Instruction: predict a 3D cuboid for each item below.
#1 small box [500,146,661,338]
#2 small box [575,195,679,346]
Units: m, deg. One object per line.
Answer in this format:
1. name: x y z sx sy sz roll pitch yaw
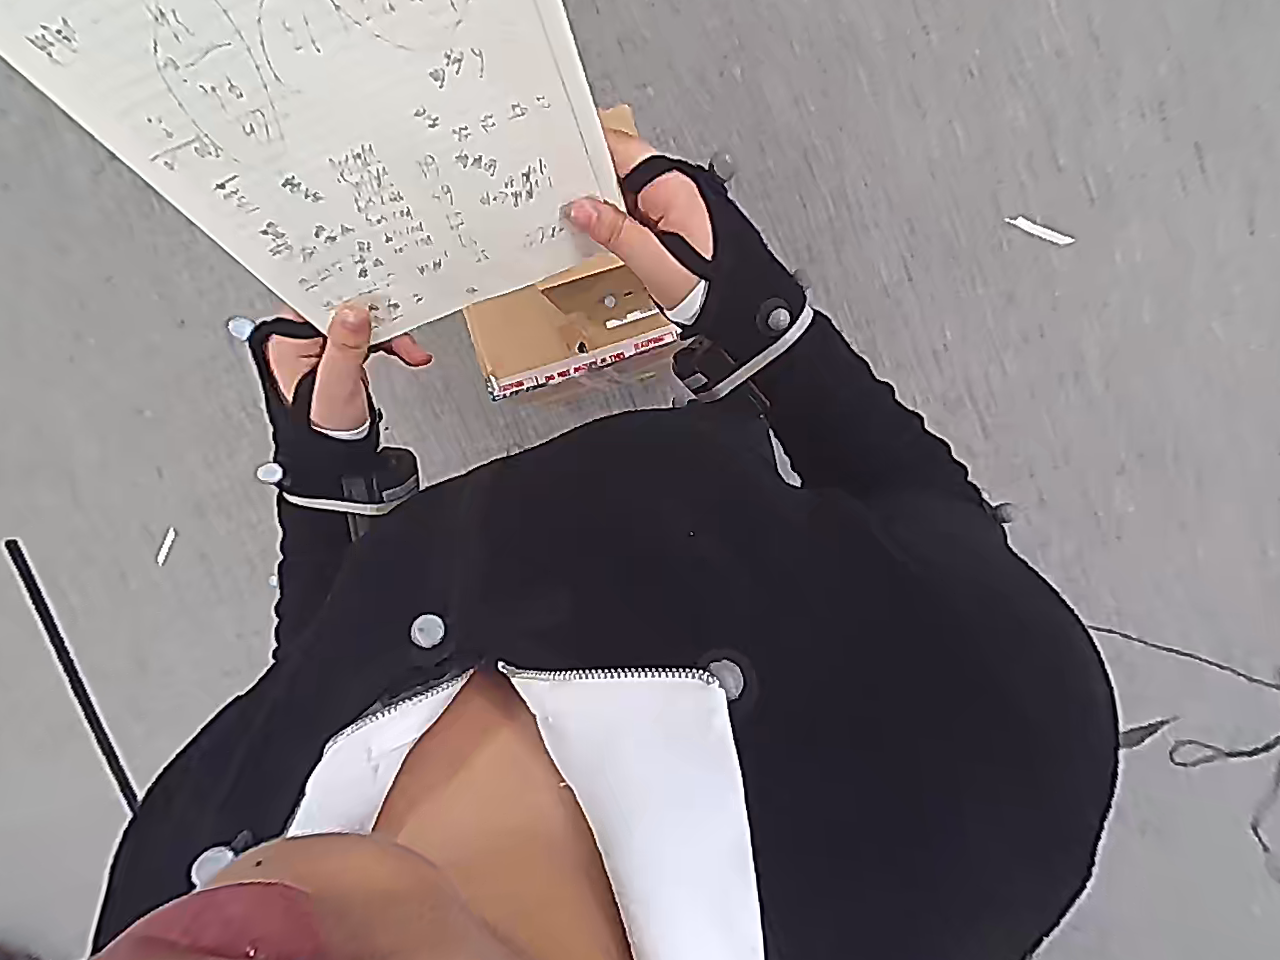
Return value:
1. small box: -0.071 -0.309 0.740 0.168 0.176 0.179 -14 97 5
2. small box: -0.042 -0.336 0.901 0.179 0.176 0.168 -18 95 6
